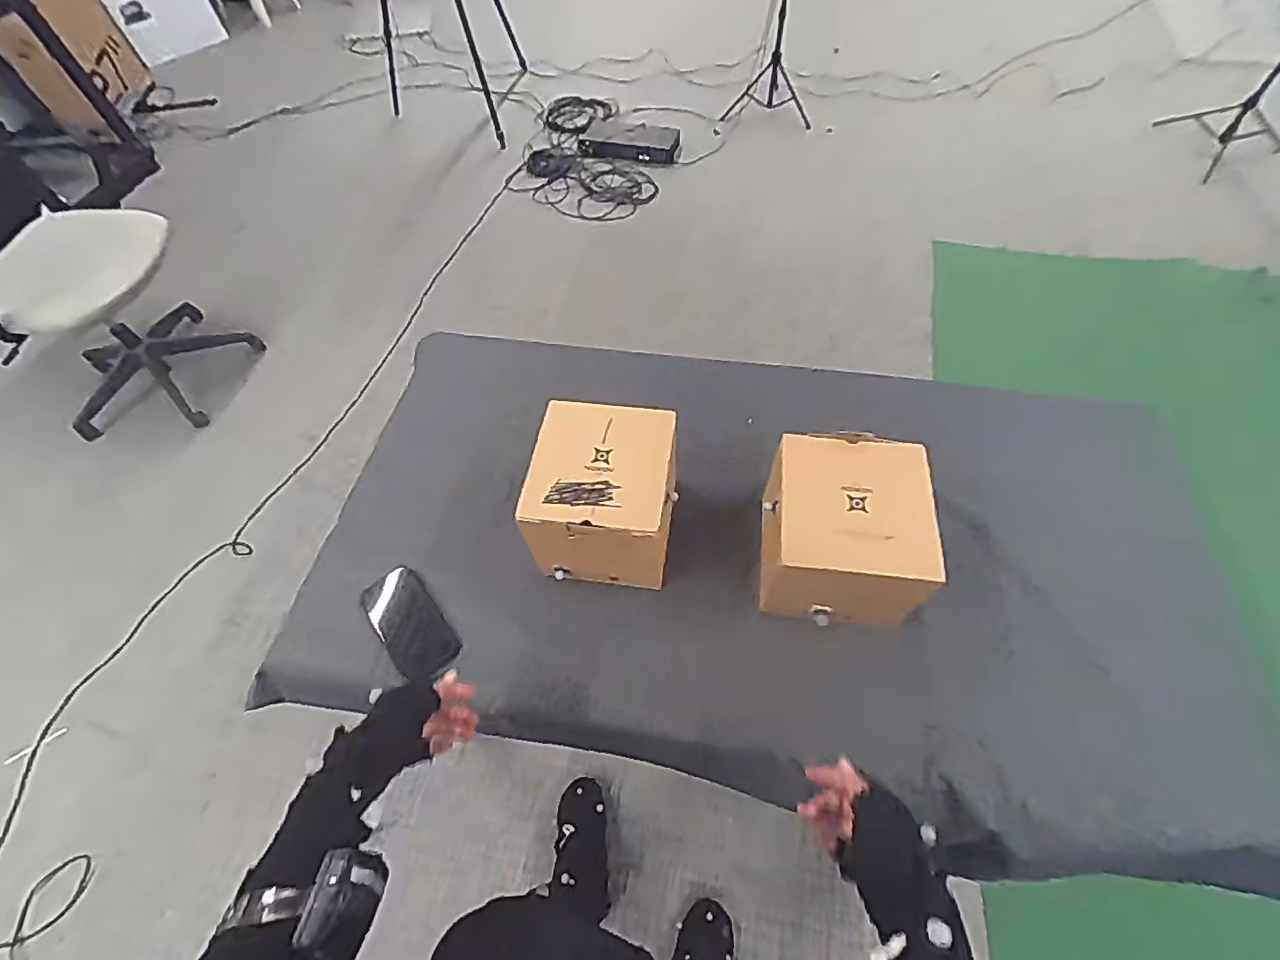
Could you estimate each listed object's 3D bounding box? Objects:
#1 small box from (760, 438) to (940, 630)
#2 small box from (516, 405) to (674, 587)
[{"bbox_3d":[0.244,0.070,0.676,0.168,0.176,0.179,4,59,7],"label":"small box"},{"bbox_3d":[-0.046,0.027,0.713,0.168,0.176,0.179,6,57,6],"label":"small box"}]
